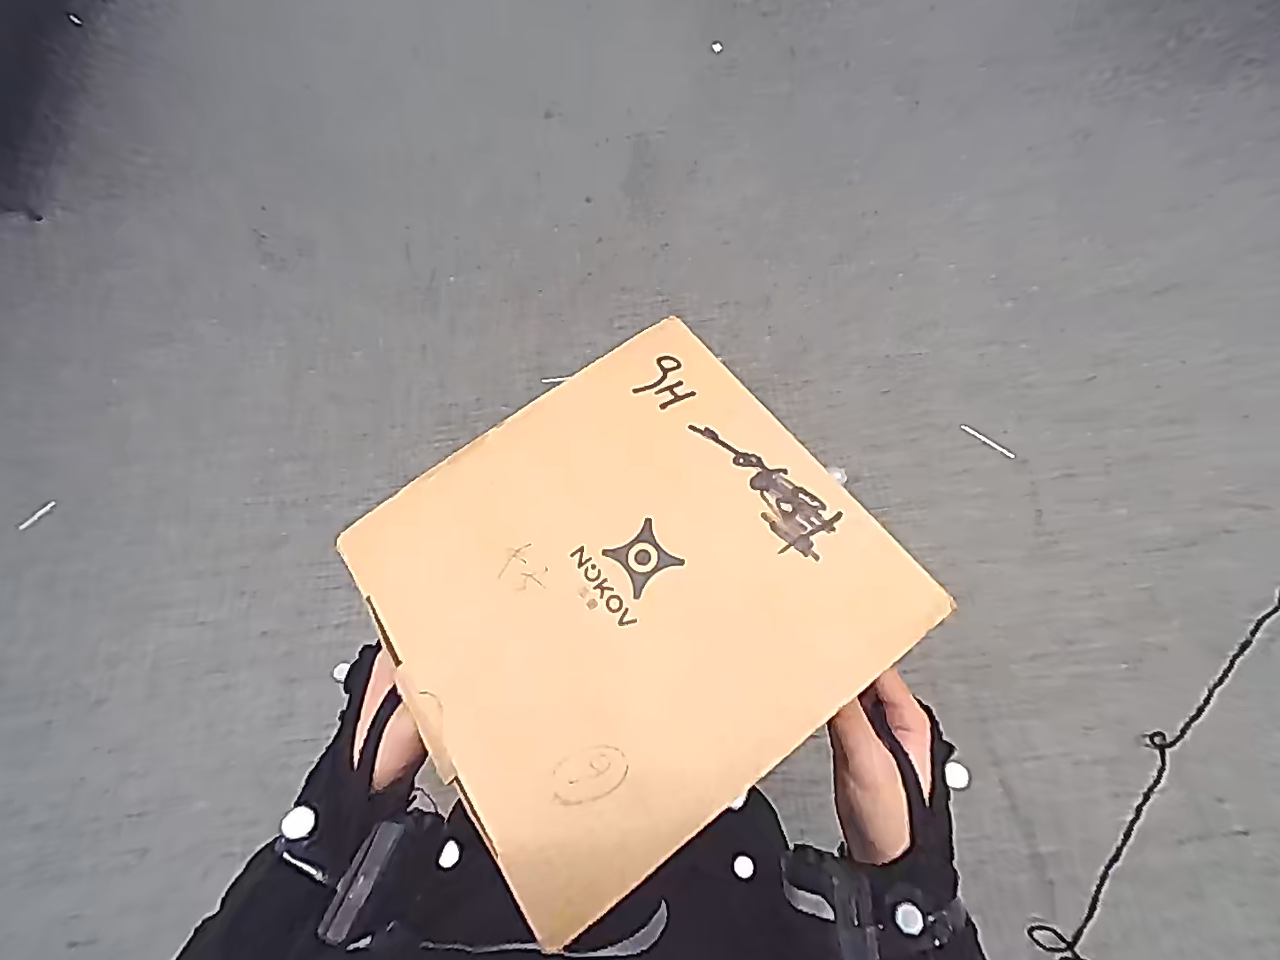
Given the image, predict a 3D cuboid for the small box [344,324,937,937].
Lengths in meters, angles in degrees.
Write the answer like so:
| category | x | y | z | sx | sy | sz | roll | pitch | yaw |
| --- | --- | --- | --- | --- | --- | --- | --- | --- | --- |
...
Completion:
| category | x | y | z | sx | sy | sz | roll | pitch | yaw |
| --- | --- | --- | --- | --- | --- | --- | --- | --- | --- |
| small box | 0.000 | 0.065 | 0.279 | 0.179 | 0.176 | 0.168 | -36 | 69 | -8 |
